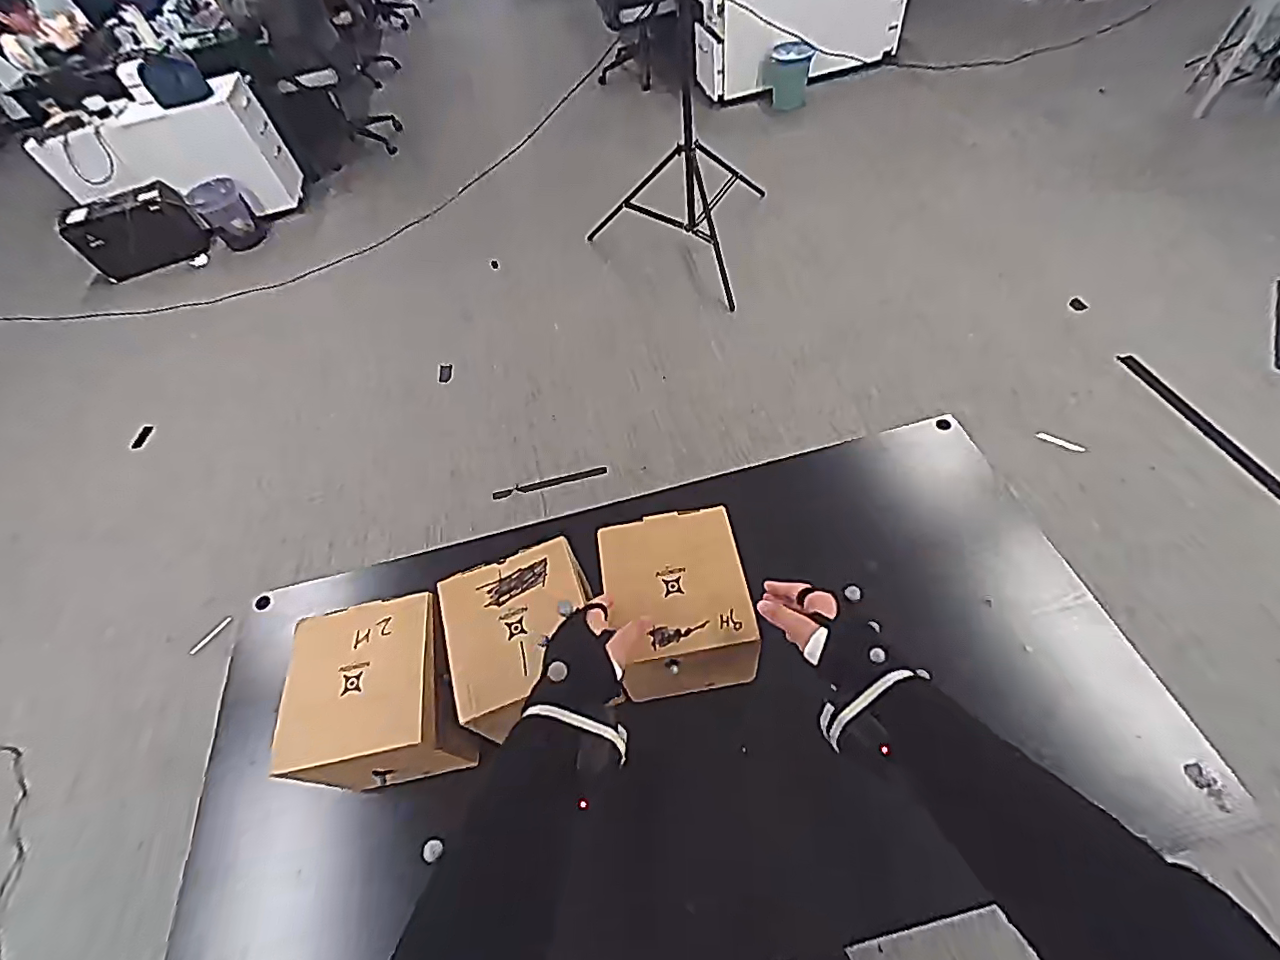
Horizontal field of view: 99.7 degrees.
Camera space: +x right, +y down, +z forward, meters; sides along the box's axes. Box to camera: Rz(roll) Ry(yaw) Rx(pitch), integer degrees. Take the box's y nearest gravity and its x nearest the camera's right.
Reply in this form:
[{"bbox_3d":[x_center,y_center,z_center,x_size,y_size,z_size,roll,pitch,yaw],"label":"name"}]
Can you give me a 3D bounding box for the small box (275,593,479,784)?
[{"bbox_3d":[-0.310,0.270,0.681,0.168,0.176,0.179,-13,54,-1],"label":"small box"}]
